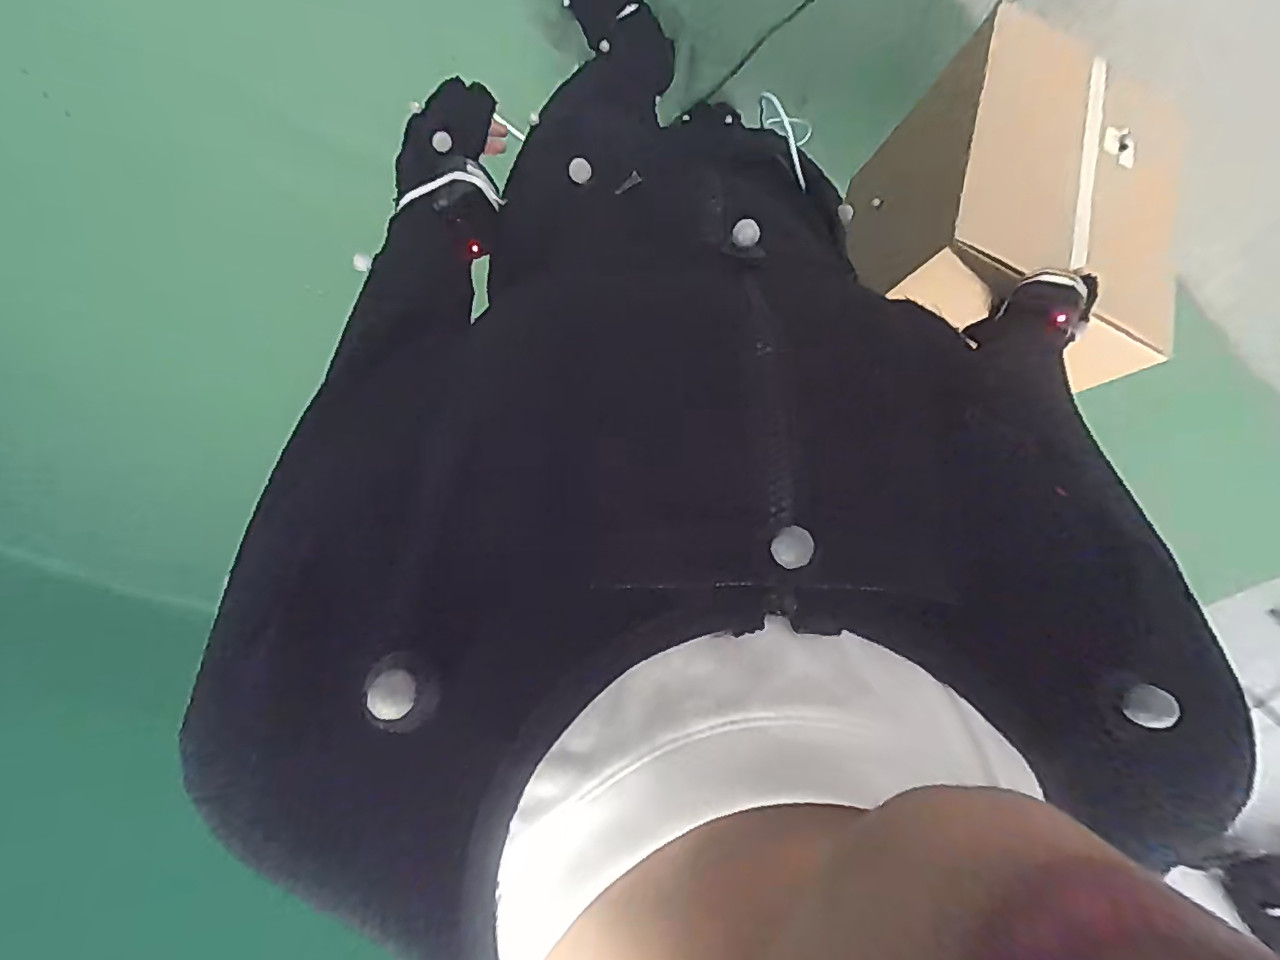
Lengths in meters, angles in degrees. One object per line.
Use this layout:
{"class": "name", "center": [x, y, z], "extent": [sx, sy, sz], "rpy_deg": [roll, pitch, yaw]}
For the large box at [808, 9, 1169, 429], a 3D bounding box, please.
{"class": "large box", "center": [0.495, -0.344, 0.804], "extent": [0.320, 0.408, 0.320], "rpy_deg": [22, 162, -10]}
